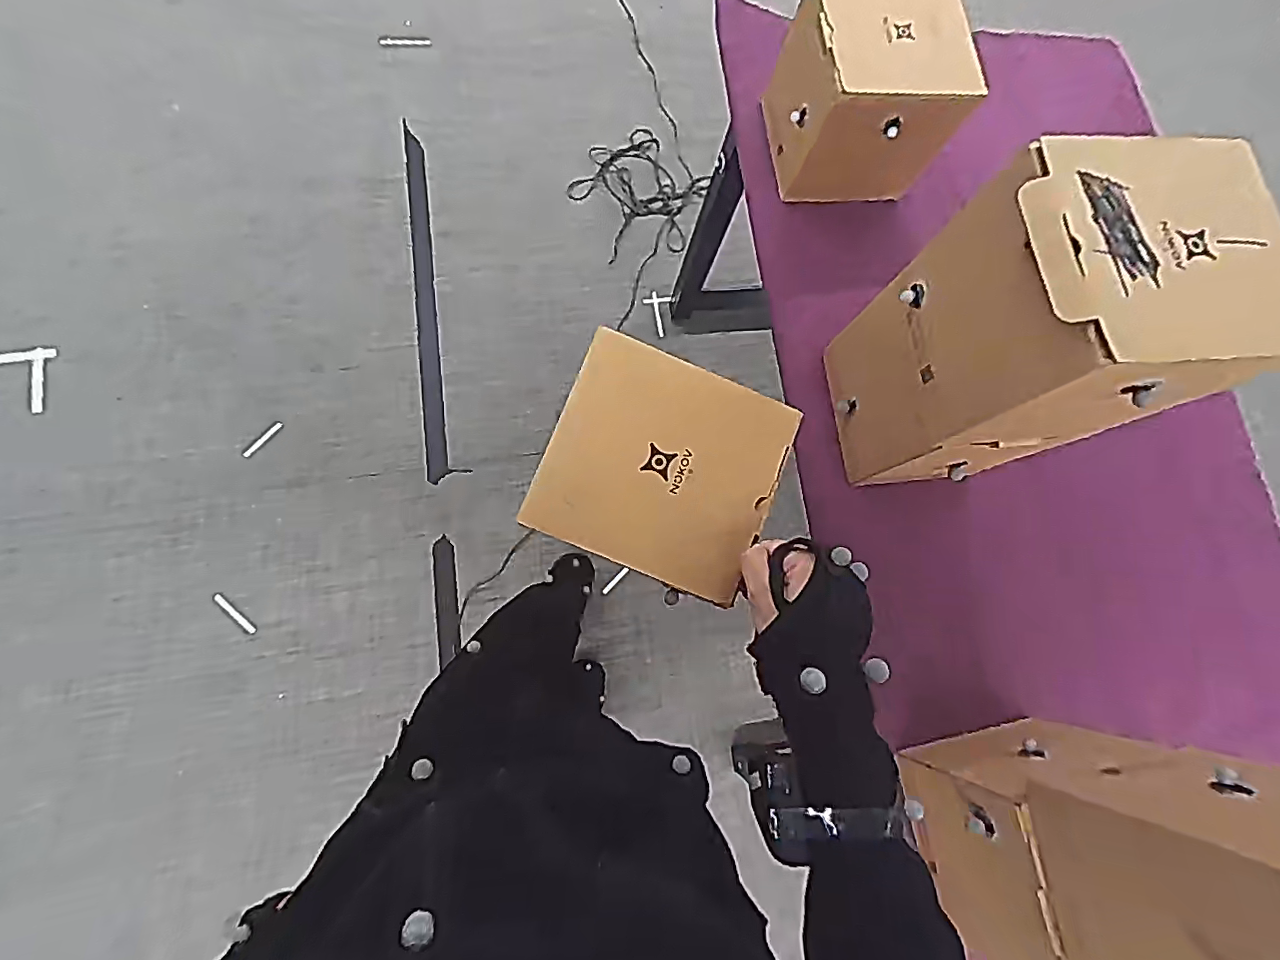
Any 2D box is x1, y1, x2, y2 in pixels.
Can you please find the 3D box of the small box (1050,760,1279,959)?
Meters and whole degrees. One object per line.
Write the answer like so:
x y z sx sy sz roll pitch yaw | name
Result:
0.408 0.291 0.338 0.168 0.176 0.179 -4 77 -9 | small box

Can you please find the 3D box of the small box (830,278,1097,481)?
0.332 -0.099 0.590 0.168 0.176 0.179 -6 78 -8 | small box

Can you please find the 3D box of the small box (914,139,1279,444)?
0.347 -0.132 0.428 0.179 0.176 0.168 -5 78 -9 | small box

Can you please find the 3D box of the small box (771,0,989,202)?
0.275 -0.469 0.667 0.179 0.176 0.168 -6 80 -10 | small box
